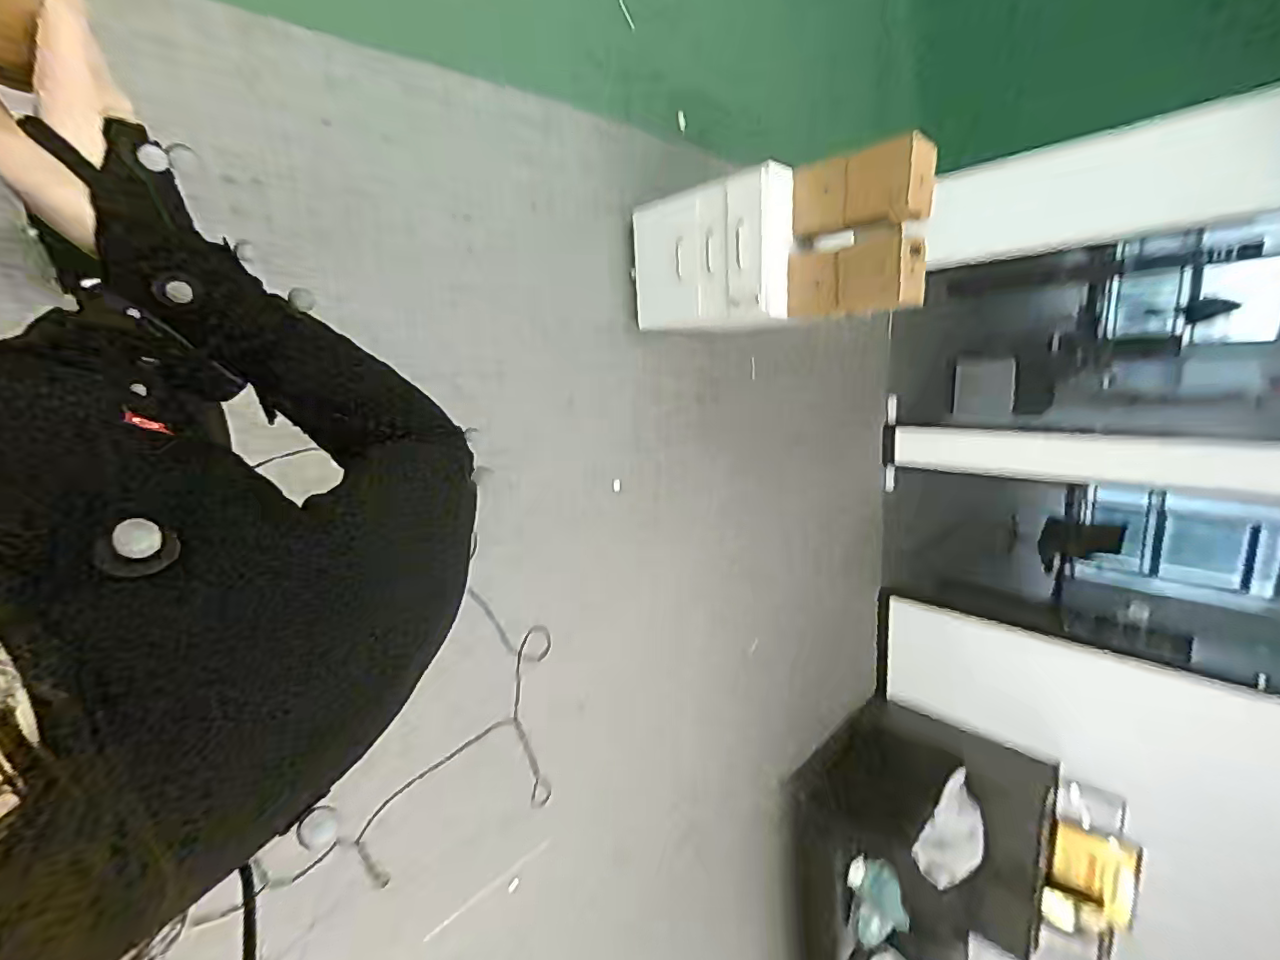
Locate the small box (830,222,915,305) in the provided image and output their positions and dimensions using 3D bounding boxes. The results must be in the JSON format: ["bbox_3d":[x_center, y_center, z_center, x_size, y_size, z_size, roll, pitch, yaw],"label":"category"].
[{"bbox_3d":[0.632,-0.583,1.478,0.168,0.176,0.179,-14,105,-42],"label":"small box"}]

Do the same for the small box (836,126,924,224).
[{"bbox_3d":[0.642,-0.809,1.454,0.168,0.176,0.179,-14,108,-43],"label":"small box"}]

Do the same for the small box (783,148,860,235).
[{"bbox_3d":[0.530,-0.830,1.572,0.168,0.176,0.179,-16,109,-42],"label":"small box"}]
